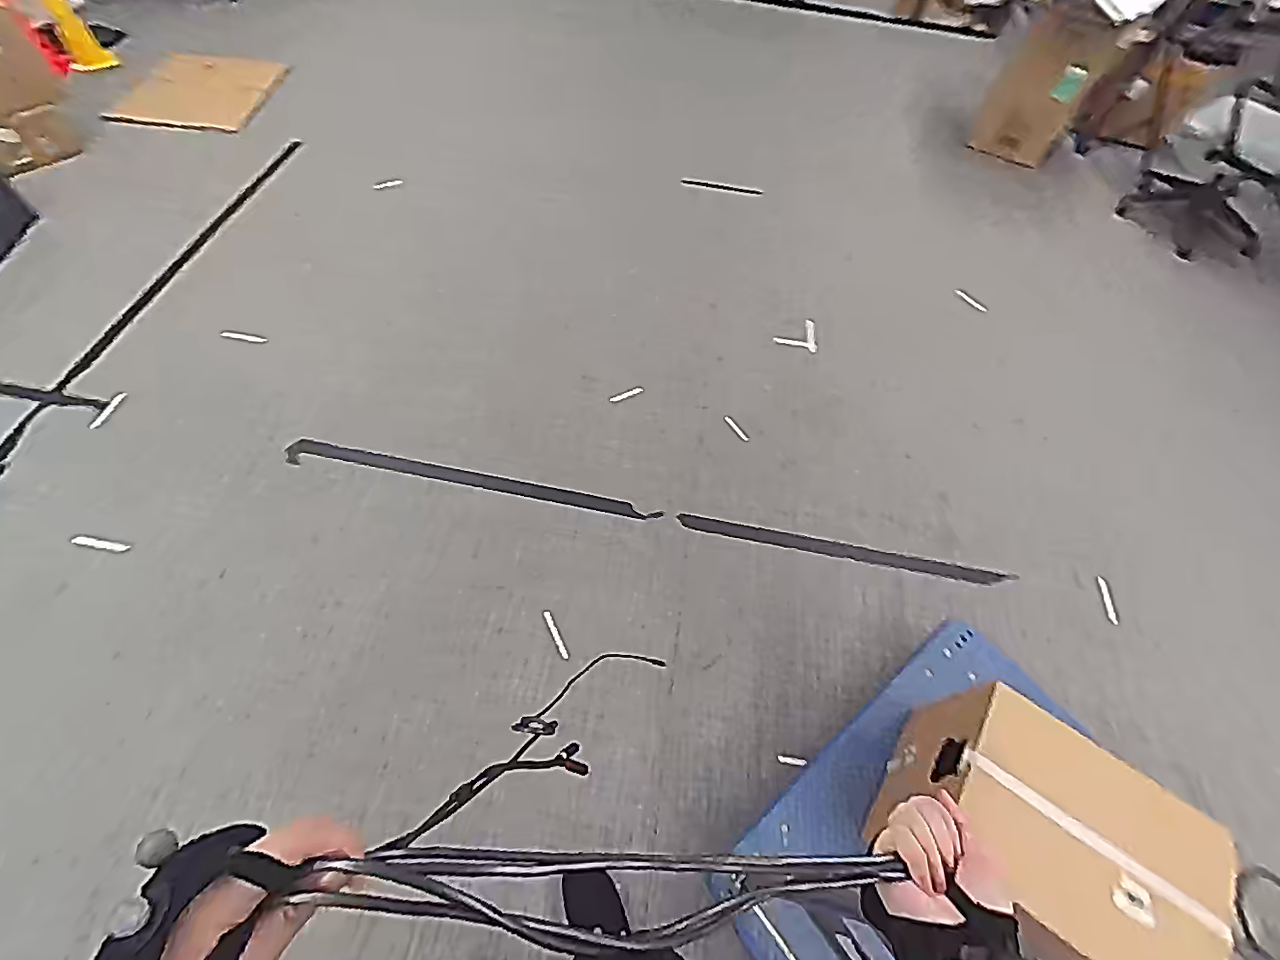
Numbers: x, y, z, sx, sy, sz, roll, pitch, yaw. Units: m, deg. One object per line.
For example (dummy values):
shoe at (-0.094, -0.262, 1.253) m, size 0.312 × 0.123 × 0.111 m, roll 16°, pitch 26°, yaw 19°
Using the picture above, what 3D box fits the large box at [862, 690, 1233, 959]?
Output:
large box at (0.697, 0.656, 0.980) m, size 0.408 × 0.320 × 0.320 m, roll 35°, pitch 63°, yaw 15°
